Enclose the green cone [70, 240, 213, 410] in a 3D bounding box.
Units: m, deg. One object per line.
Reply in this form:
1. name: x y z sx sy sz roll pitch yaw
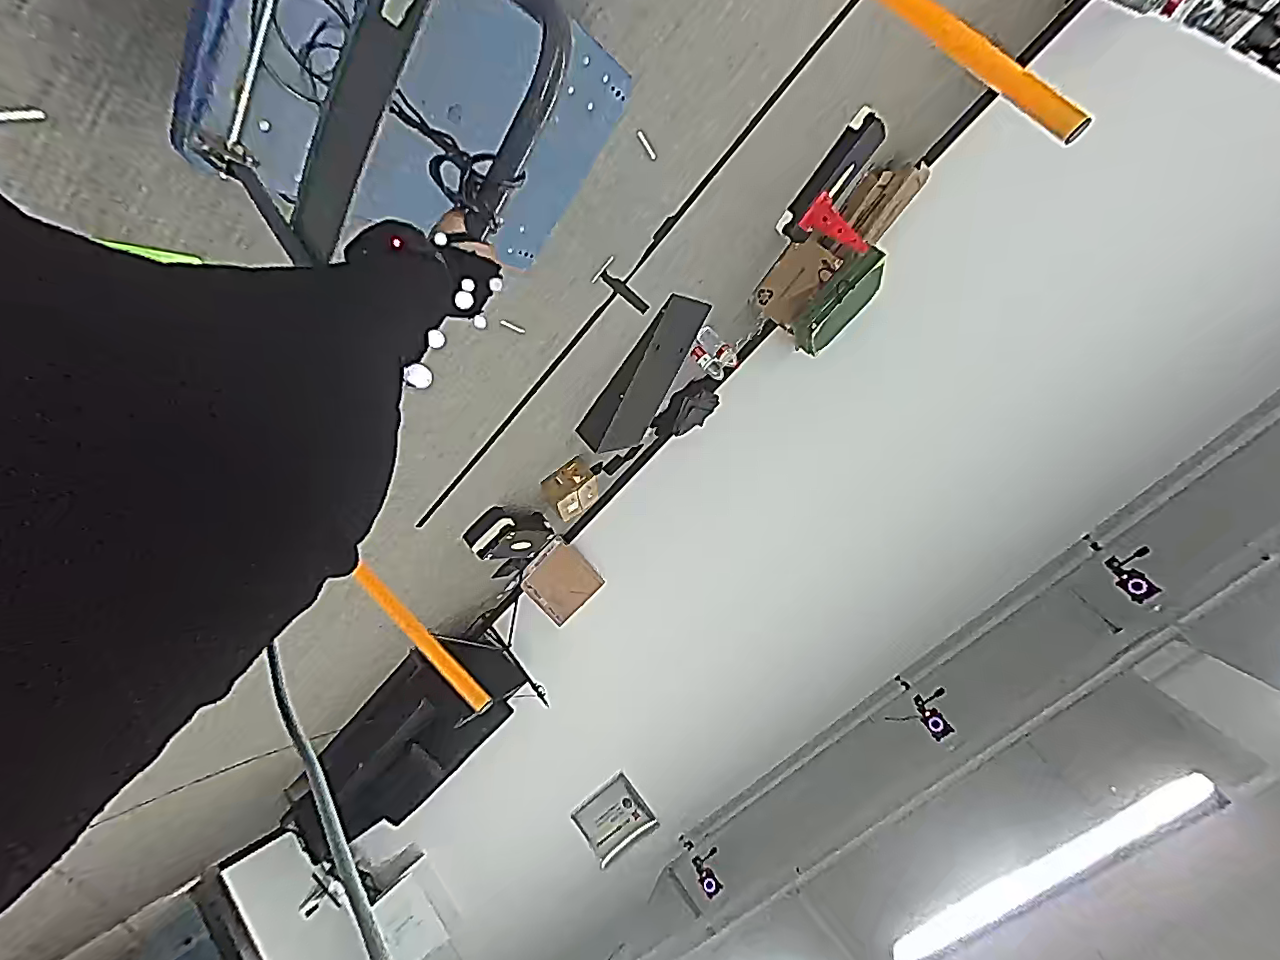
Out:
1. green cone: -0.962 -0.283 1.105 0.200 0.368 0.202 -50 162 28
